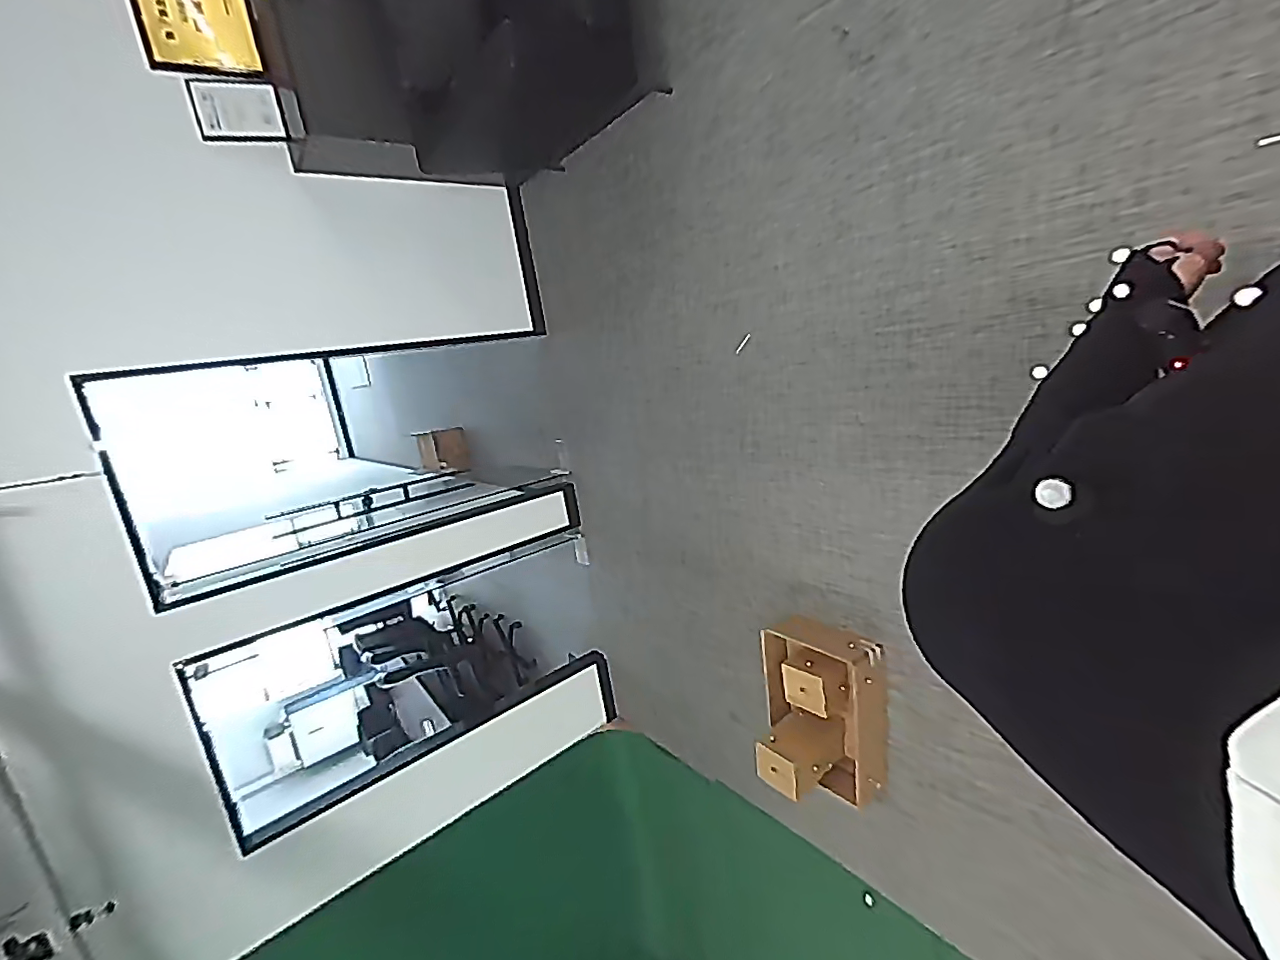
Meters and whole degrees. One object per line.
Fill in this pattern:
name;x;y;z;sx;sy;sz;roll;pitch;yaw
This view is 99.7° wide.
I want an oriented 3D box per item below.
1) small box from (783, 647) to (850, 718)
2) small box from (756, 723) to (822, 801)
small box;0.668;0.758;2.048;0.179;0.176;0.168;5;108;50
small box;0.558;1.045;2.024;0.179;0.176;0.168;11;112;50
